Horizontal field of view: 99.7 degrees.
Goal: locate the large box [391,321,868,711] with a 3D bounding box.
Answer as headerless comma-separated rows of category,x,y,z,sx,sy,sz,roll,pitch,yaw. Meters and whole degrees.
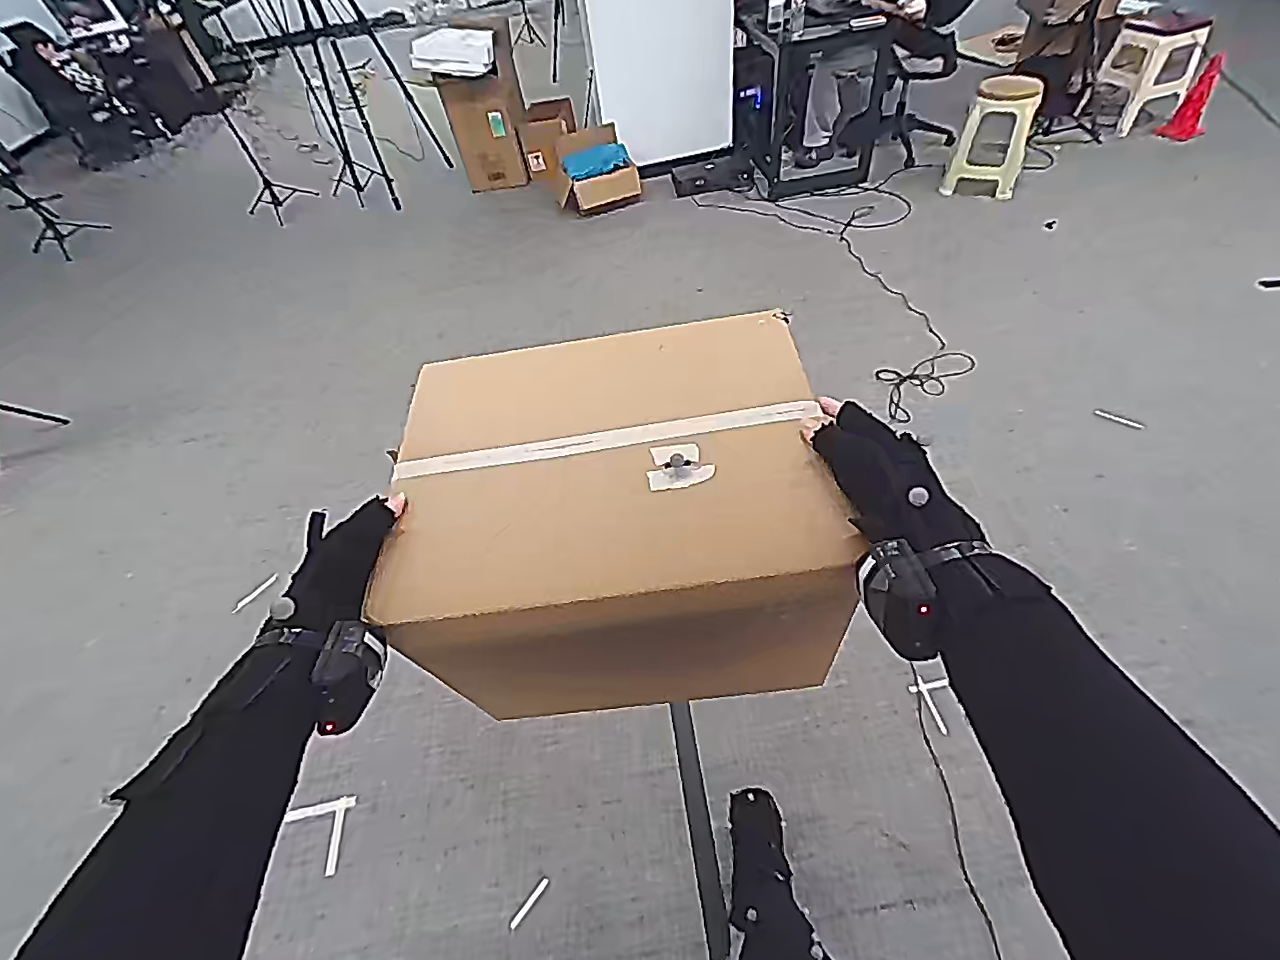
large box,-0.008,0.056,0.645,0.408,0.320,0.320,-8,53,3
